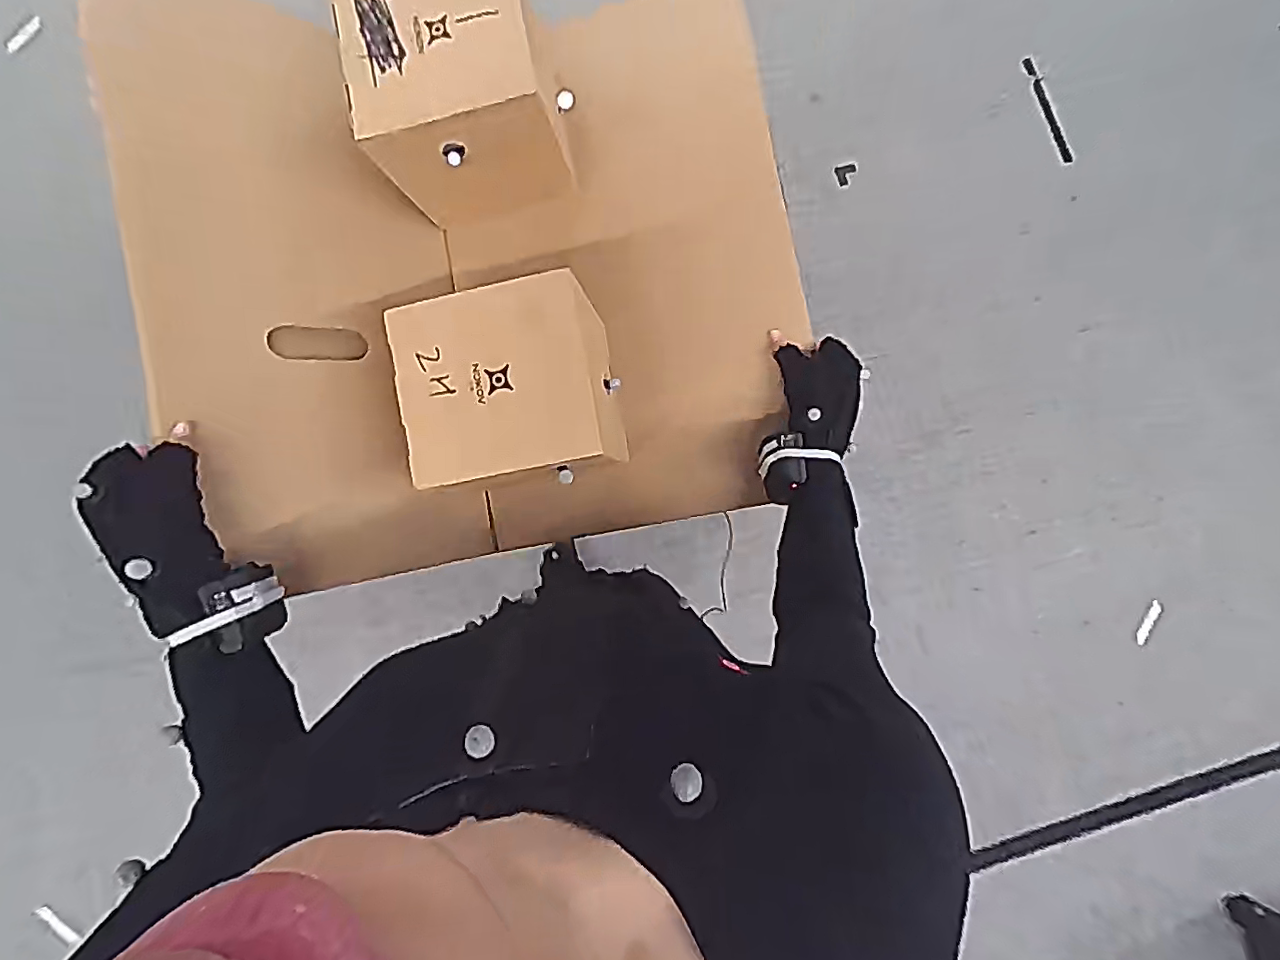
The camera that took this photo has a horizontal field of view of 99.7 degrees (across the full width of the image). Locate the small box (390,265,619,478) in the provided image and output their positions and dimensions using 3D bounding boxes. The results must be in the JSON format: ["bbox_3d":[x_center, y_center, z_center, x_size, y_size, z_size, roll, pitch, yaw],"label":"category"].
[{"bbox_3d":[-0.122,-0.097,0.562,0.179,0.176,0.168,-10,88,7],"label":"small box"}]

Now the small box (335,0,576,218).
[{"bbox_3d":[-0.182,-0.408,0.574,0.179,0.176,0.168,-11,88,6],"label":"small box"}]
